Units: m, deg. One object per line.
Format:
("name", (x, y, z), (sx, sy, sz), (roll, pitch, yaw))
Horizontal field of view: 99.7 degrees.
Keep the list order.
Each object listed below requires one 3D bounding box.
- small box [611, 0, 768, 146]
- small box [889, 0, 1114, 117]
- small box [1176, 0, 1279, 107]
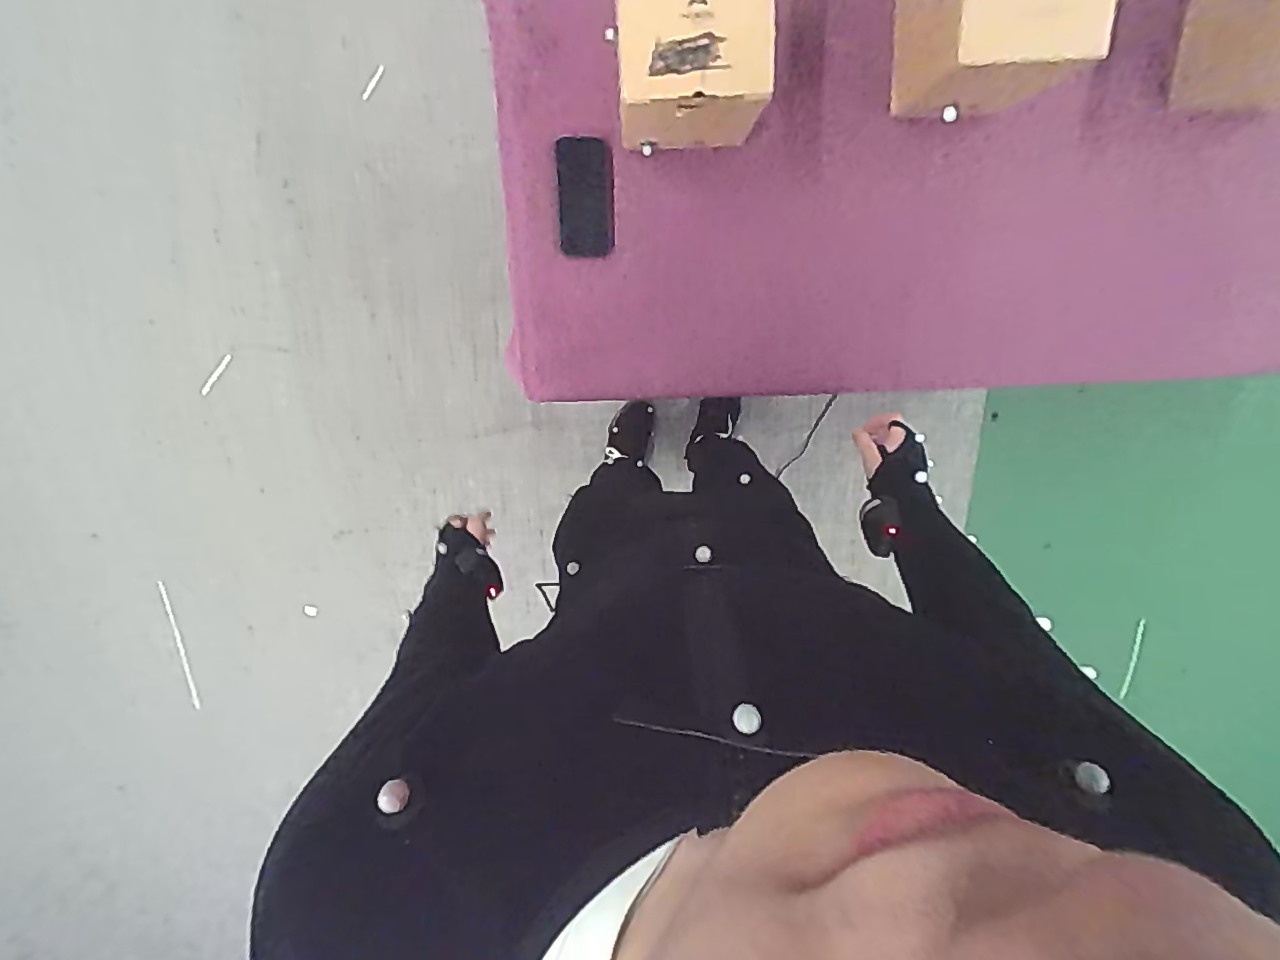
("small box", (0.051, -0.515, 0.638), (0.168, 0.176, 0.179), (-3, 105, -1))
("small box", (0.413, -0.560, 0.636), (0.168, 0.176, 0.179), (-3, 106, 0))
("small box", (0.802, -0.576, 0.639), (0.168, 0.176, 0.179), (-1, 105, 0))
